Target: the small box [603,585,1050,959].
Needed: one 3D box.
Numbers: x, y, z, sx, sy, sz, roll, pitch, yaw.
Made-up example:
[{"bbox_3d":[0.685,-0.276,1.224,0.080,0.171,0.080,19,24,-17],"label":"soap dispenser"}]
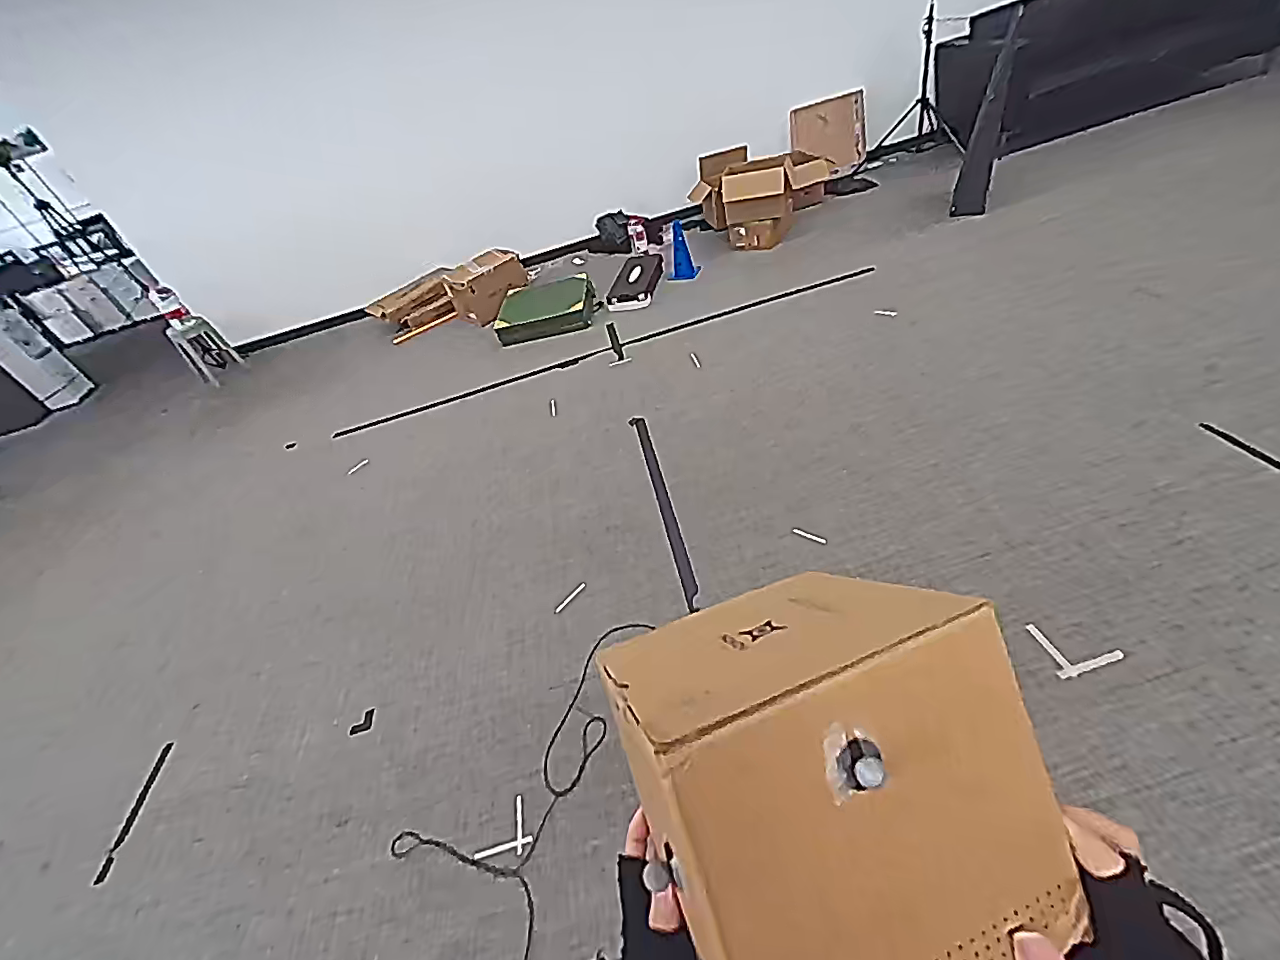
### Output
[{"bbox_3d":[0.094,0.178,0.326,0.179,0.176,0.168,-17,-1,-13],"label":"small box"}]
